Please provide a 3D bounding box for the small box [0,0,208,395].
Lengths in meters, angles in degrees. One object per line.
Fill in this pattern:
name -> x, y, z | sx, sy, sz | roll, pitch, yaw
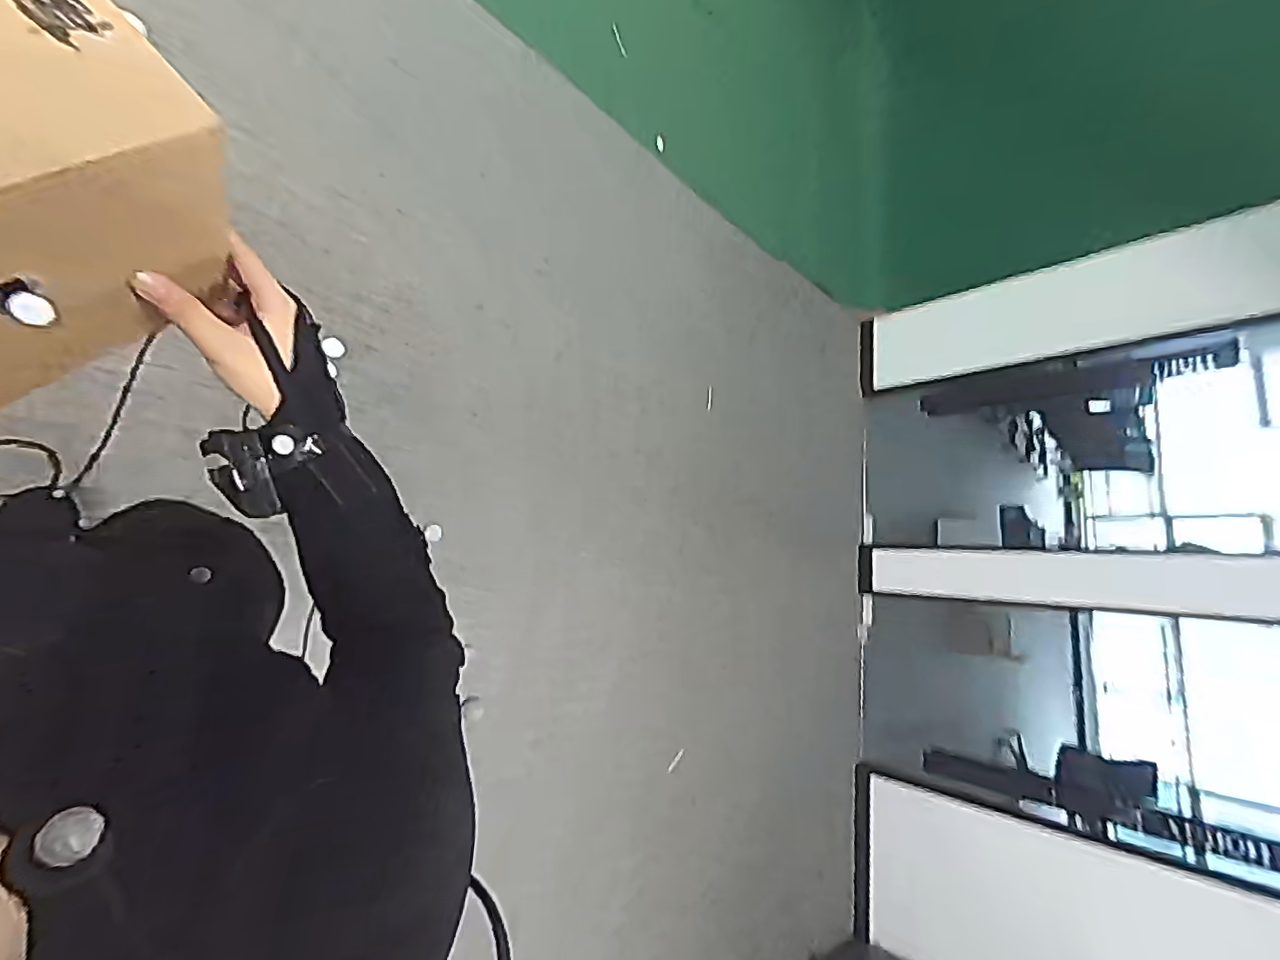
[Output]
small box -> -0.341, -0.151, 0.245 | 0.168, 0.176, 0.179 | 49, 56, -16
